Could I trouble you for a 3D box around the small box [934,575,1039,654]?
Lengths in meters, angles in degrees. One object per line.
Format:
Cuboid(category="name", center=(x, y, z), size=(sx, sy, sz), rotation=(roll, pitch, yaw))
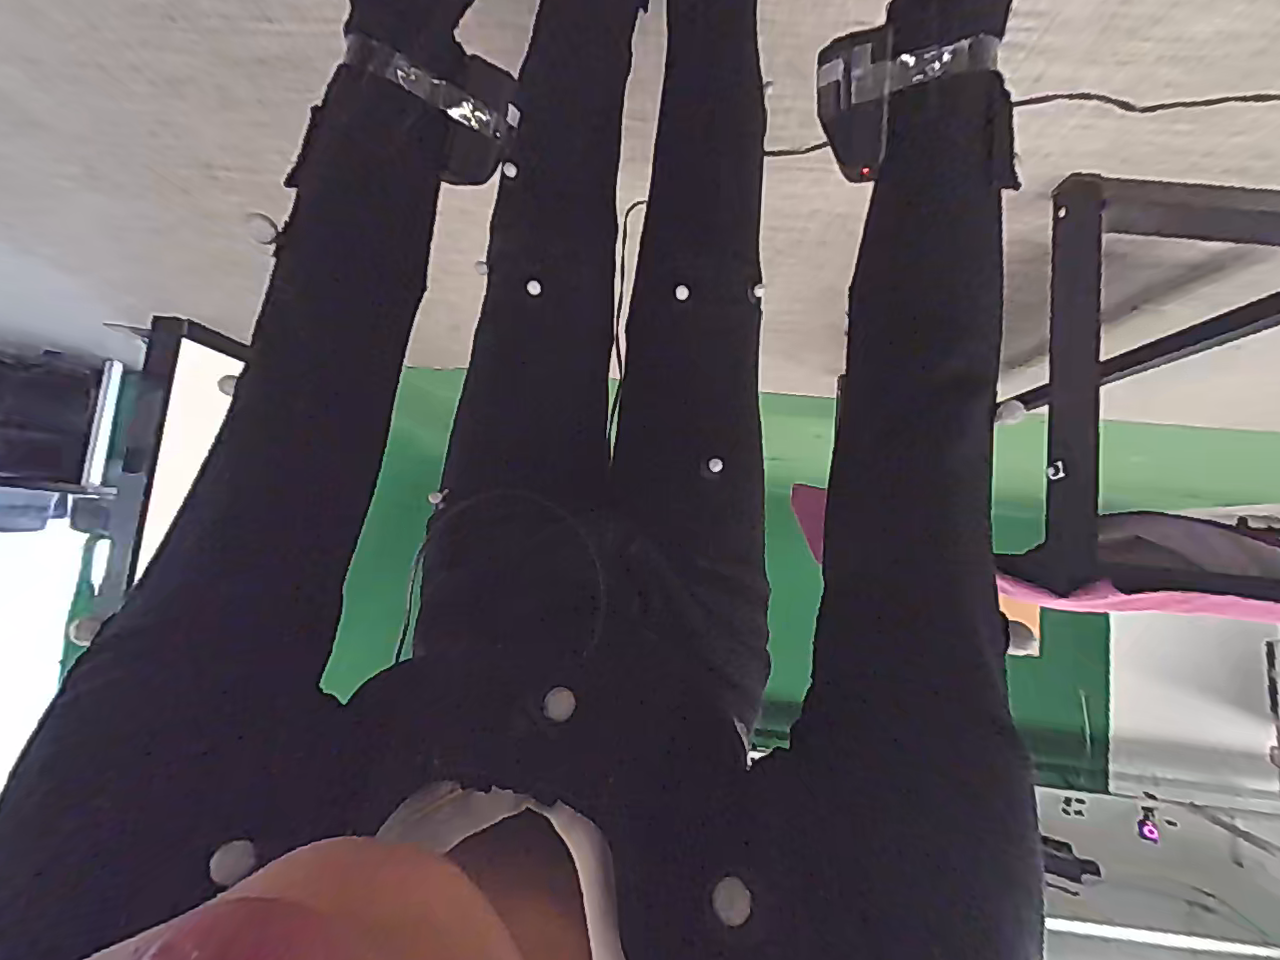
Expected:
Cuboid(category="small box", center=(0.905, 0.347, 1.417), size=(0.179, 0.176, 0.168), rotation=(6, 173, -3))
